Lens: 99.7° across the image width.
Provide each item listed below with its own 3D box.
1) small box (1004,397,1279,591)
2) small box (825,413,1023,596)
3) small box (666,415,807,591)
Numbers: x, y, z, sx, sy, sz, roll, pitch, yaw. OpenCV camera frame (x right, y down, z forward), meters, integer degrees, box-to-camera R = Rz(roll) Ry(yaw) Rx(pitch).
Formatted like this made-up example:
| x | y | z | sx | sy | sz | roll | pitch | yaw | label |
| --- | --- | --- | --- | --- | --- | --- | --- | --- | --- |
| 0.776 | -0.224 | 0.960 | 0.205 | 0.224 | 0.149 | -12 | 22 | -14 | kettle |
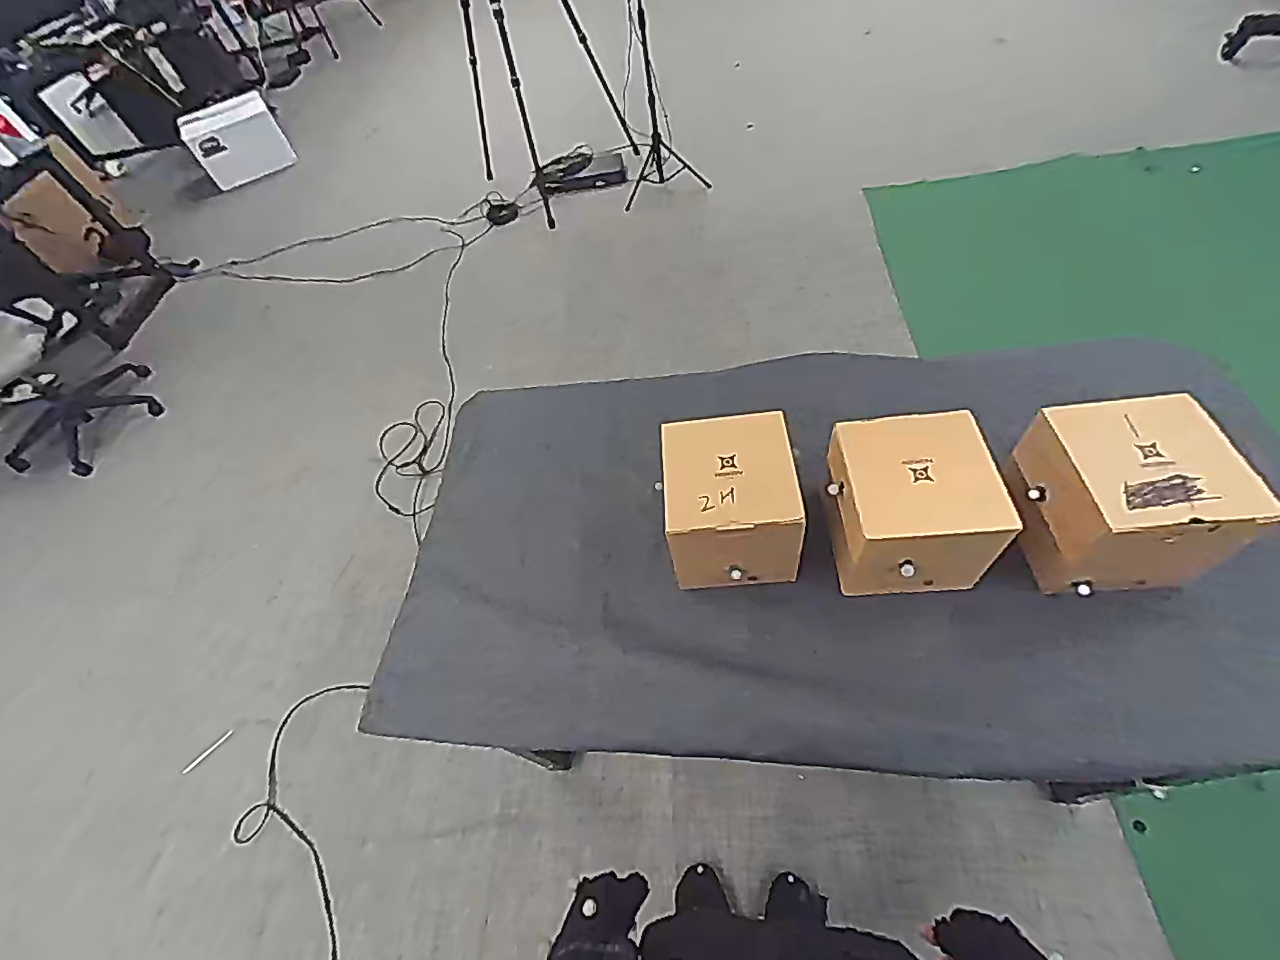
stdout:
| x | y | z | sx | sy | sz | roll | pitch | yaw | label |
| --- | --- | --- | --- | --- | --- | --- | --- | --- | --- |
| 0.581 | 0.026 | 0.657 | 0.168 | 0.176 | 0.179 | -5 | 53 | 8 | small box |
| 0.344 | 0.041 | 0.698 | 0.168 | 0.176 | 0.179 | -5 | 53 | 8 | small box |
| 0.125 | 0.035 | 0.743 | 0.168 | 0.176 | 0.179 | -6 | 54 | 7 | small box |
